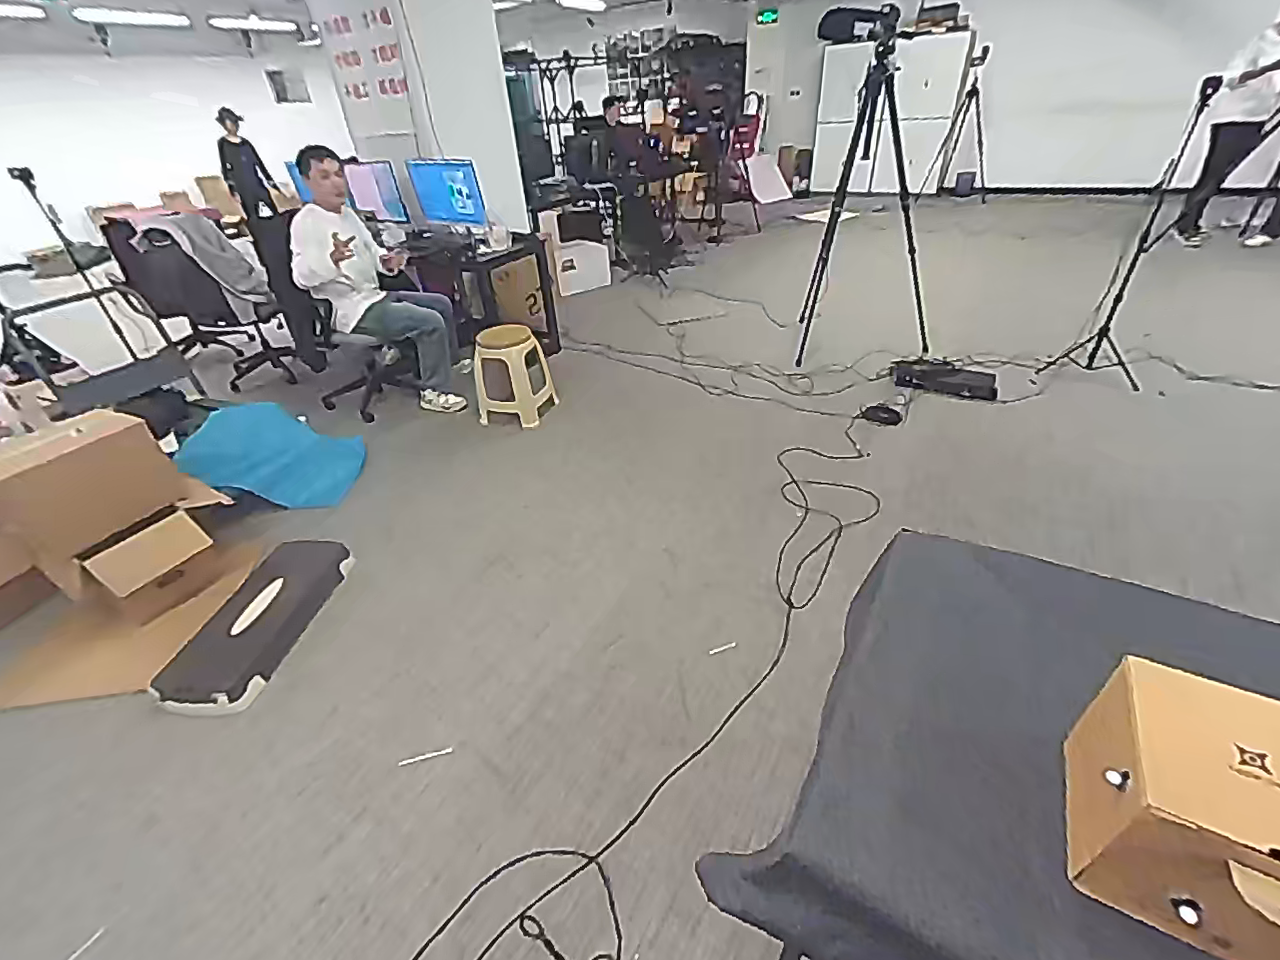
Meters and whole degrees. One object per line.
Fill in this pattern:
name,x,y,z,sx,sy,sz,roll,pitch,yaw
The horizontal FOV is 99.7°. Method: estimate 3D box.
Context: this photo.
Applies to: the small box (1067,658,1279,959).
small box,0.543,0.318,0.522,0.168,0.176,0.179,17,40,26
